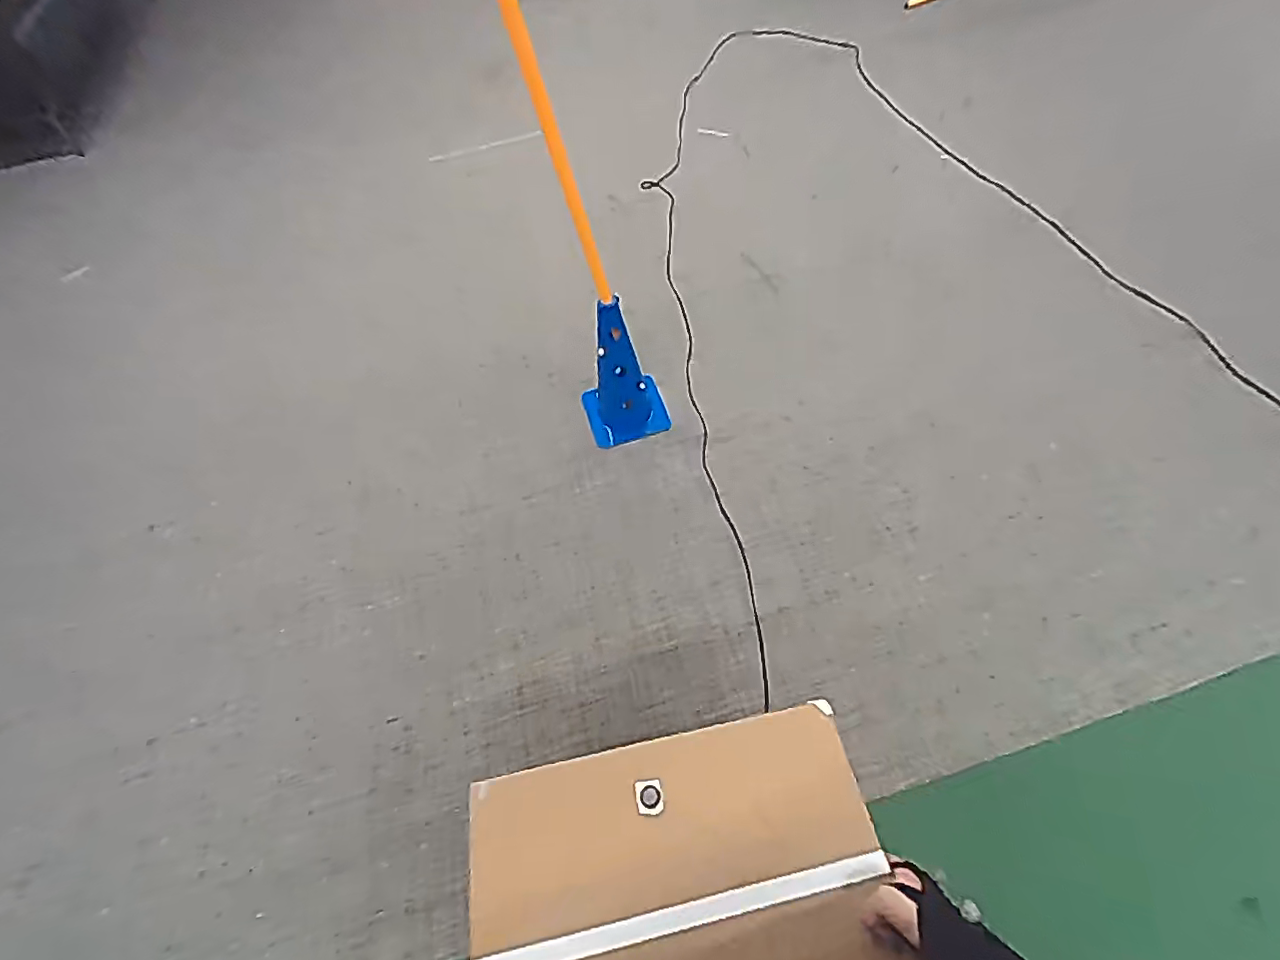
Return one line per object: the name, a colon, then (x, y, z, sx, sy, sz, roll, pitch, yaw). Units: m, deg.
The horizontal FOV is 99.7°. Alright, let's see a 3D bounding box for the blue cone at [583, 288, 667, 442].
blue cone: (-0.055, -0.274, 1.254, 0.193, 0.380, 0.192, -20, 58, -5)
